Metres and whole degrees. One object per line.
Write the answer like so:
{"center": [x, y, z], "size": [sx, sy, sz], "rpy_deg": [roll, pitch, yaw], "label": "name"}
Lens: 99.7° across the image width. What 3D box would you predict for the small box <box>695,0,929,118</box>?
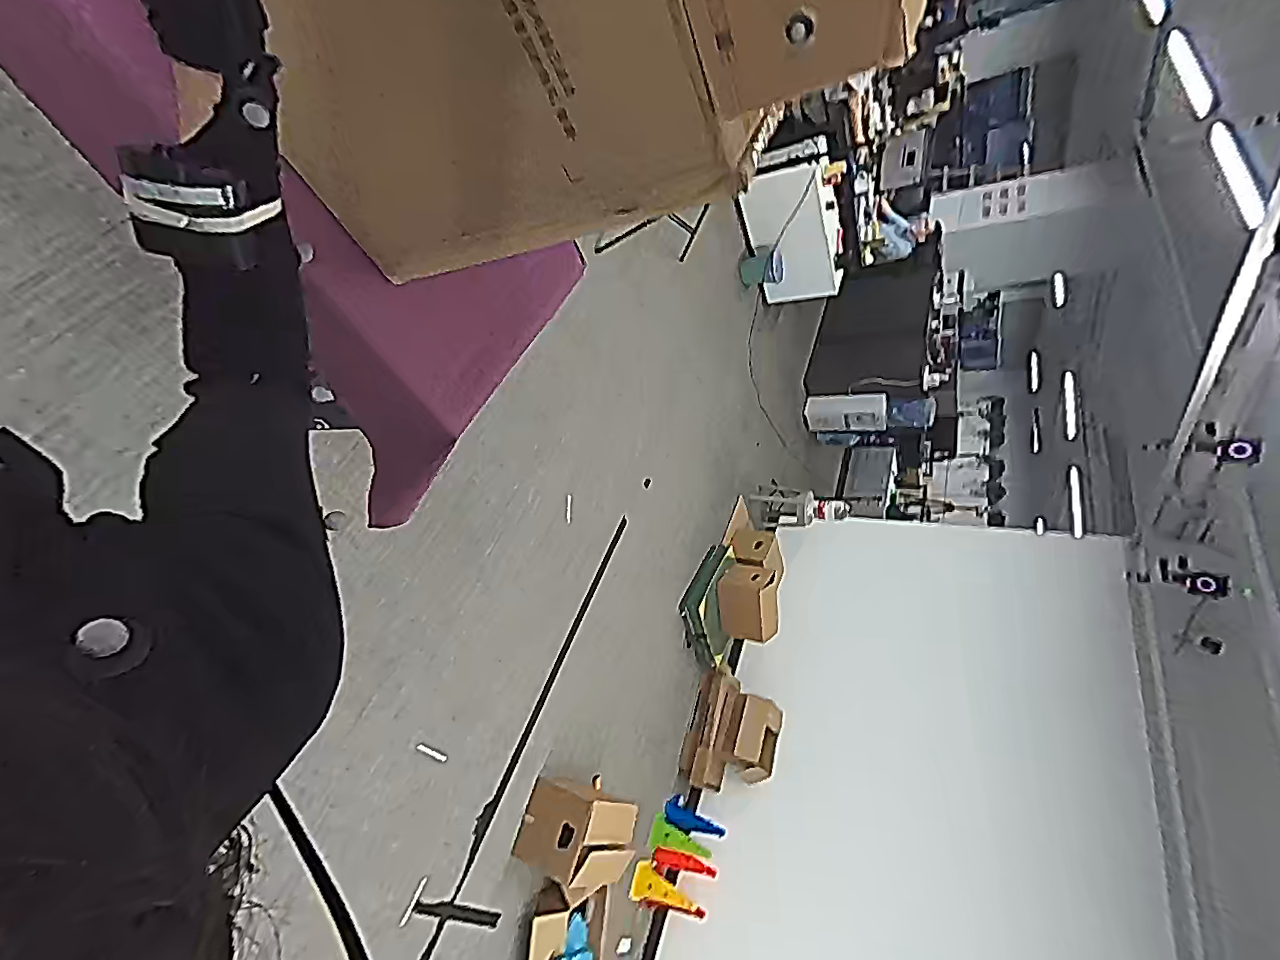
{"center": [0.148, -0.452, 0.470], "size": [0.179, 0.176, 0.168], "rpy_deg": [-64, 142, -34], "label": "small box"}
